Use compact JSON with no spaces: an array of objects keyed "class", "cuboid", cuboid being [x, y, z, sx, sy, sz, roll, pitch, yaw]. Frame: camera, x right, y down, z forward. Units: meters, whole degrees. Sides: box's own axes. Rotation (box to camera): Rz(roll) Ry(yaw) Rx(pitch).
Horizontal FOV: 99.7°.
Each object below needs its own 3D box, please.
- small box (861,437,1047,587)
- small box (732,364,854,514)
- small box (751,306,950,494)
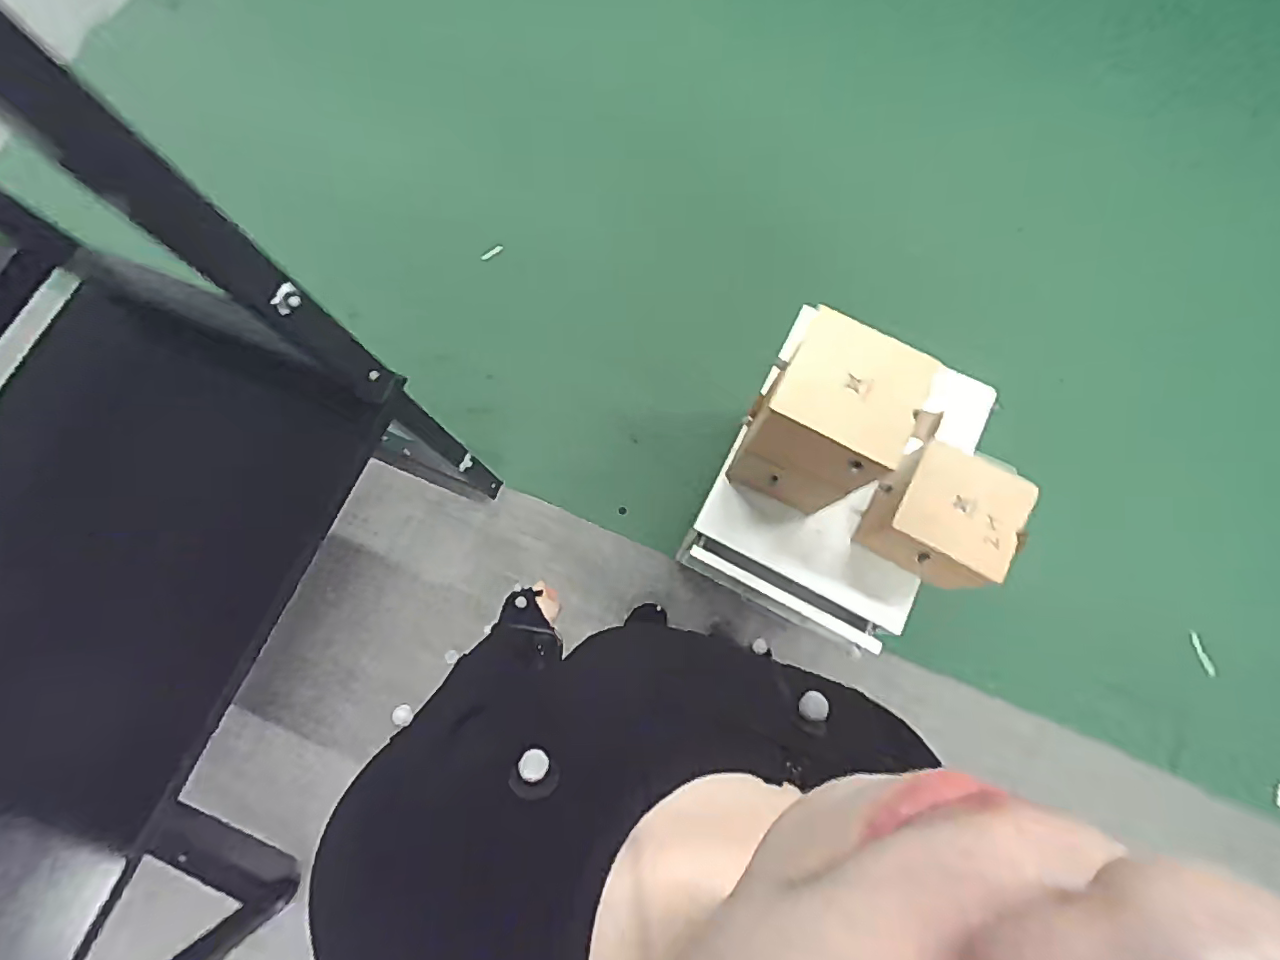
[{"class":"small box","cuboid":[0.488,0.062,0.870,0.179,0.176,0.168,29,79,7]},{"class":"small box","cuboid":[0.271,-0.058,0.902,0.179,0.176,0.168,26,77,6]},{"class":"small box","cuboid":[0.273,-0.097,0.744,0.179,0.176,0.168,28,77,5]}]
